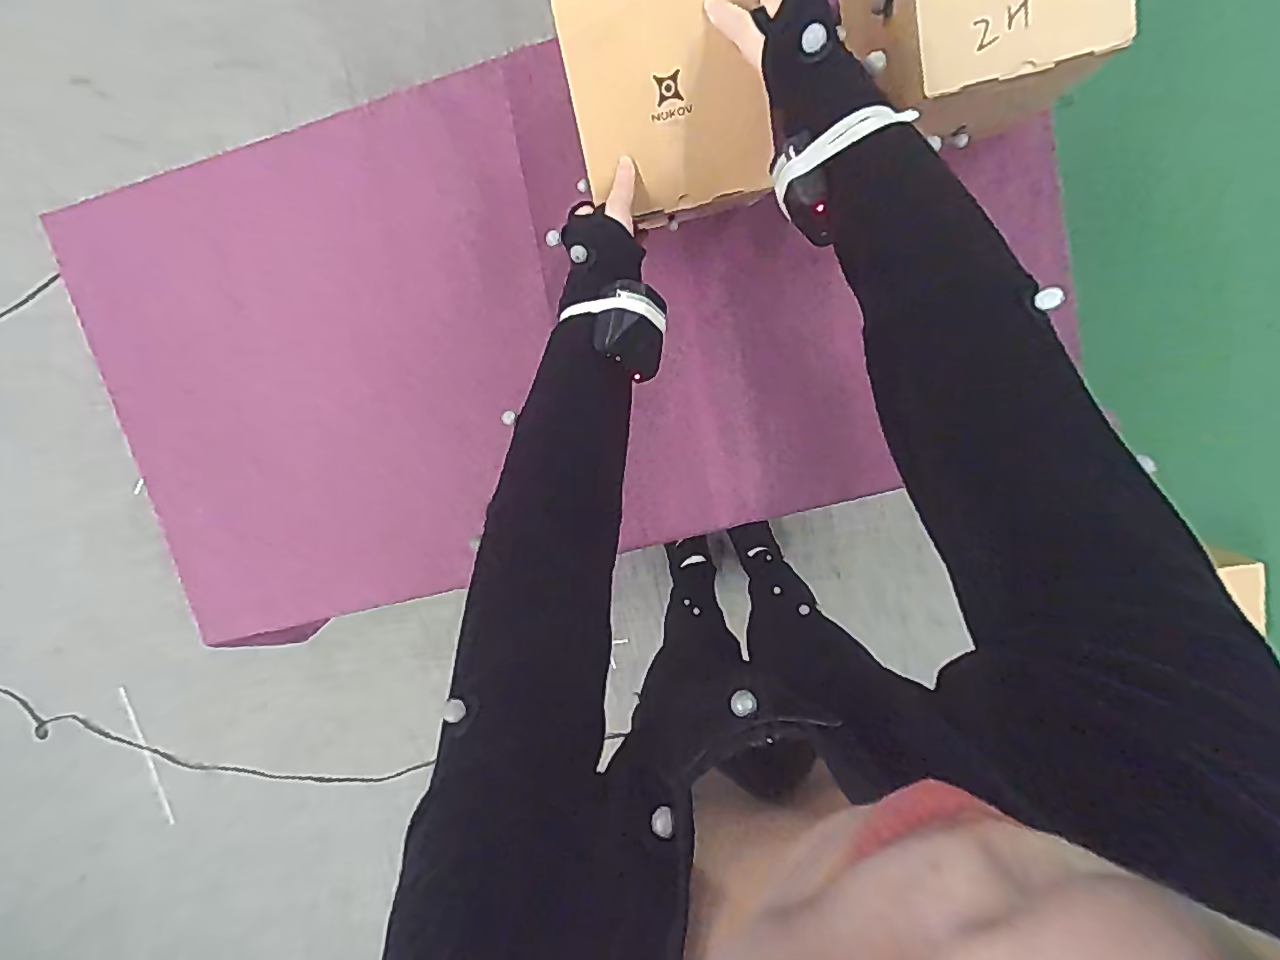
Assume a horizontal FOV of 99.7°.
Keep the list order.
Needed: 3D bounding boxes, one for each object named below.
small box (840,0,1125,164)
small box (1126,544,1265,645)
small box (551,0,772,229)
[{"bbox_3d":[0.299,-0.435,0.506,0.168,0.176,0.179,-11,101,8],"label":"small box"},{"bbox_3d":[1.302,0.265,1.279,0.168,0.176,0.179,-8,97,6],"label":"small box"},{"bbox_3d":[0.024,-0.360,0.531,0.168,0.176,0.179,-10,112,7],"label":"small box"}]
